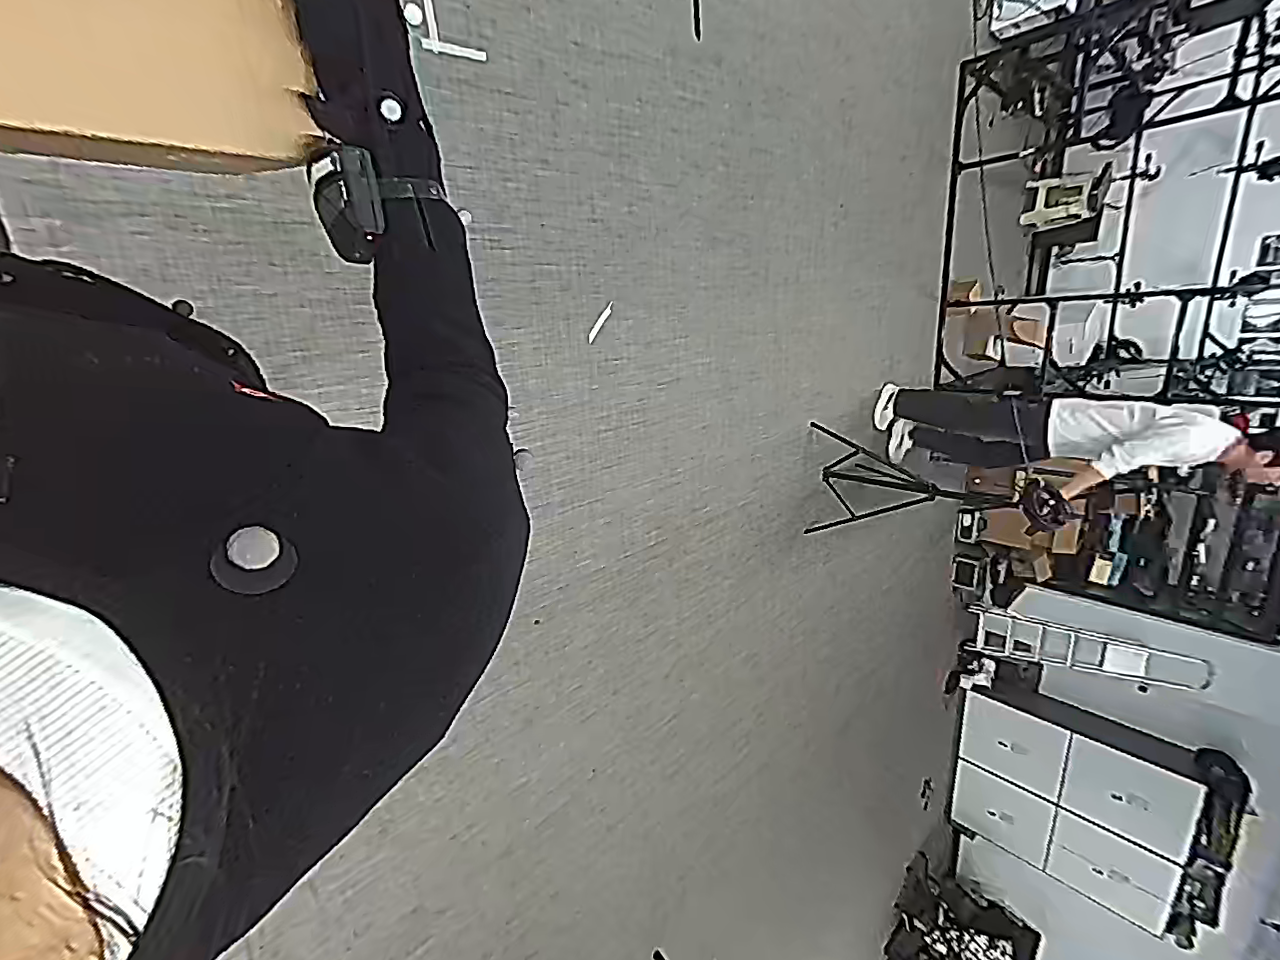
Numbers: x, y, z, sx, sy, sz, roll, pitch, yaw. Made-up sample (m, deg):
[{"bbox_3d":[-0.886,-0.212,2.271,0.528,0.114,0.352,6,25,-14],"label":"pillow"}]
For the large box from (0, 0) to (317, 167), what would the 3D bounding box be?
[{"bbox_3d":[-0.475,-0.376,0.303,0.408,0.320,0.320,-19,124,-40],"label":"large box"}]
